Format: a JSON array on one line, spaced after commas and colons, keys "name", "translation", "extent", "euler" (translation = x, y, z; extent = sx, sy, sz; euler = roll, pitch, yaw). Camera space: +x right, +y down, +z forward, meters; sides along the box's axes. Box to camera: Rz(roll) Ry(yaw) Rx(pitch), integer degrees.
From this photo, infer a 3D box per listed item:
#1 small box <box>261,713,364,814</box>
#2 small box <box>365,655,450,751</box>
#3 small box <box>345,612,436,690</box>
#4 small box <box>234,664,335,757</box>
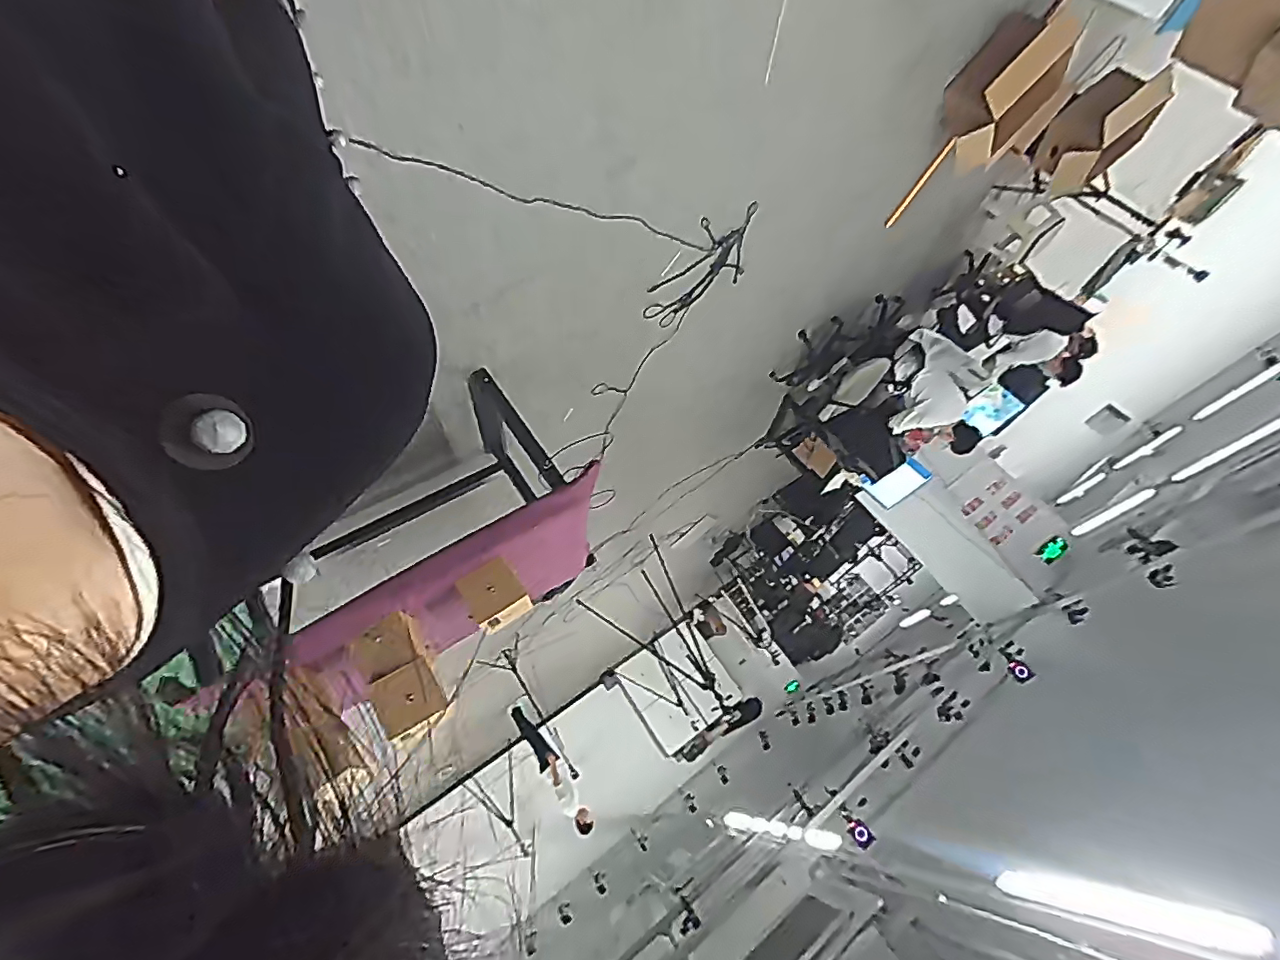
[{"name": "small box", "translation": [-0.889, 0.766, 1.464], "extent": [0.179, 0.176, 0.168], "euler": [-30, 157, -24]}, {"name": "small box", "translation": [-0.670, 0.640, 1.558], "extent": [0.179, 0.176, 0.168], "euler": [-27, 157, -29]}, {"name": "small box", "translation": [-0.754, 0.524, 1.642], "extent": [0.168, 0.176, 0.179], "euler": [-32, 159, -16]}, {"name": "small box", "translation": [-0.992, 0.648, 1.512], "extent": [0.179, 0.176, 0.168], "euler": [-31, 158, -18]}]
